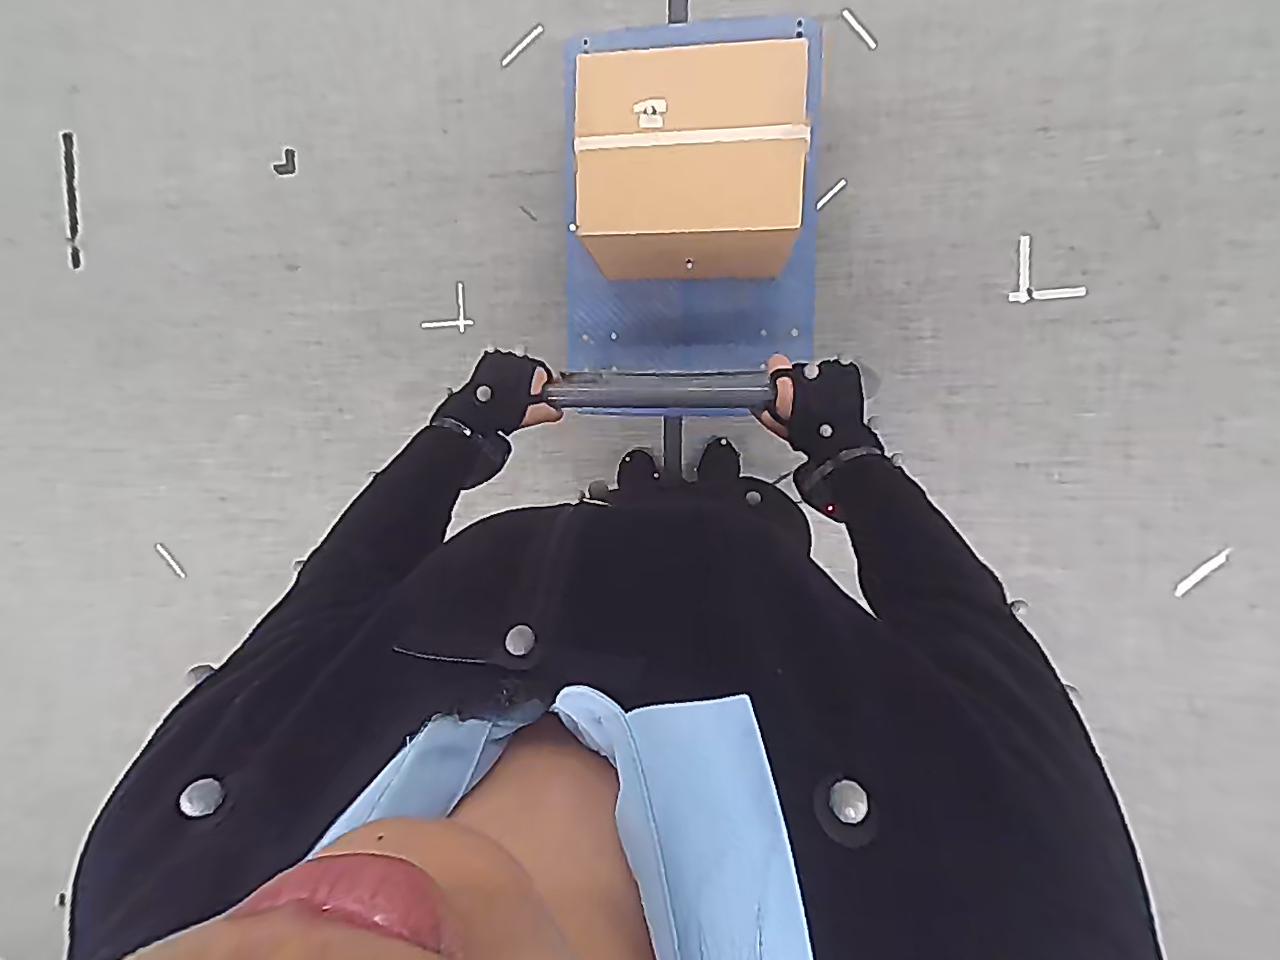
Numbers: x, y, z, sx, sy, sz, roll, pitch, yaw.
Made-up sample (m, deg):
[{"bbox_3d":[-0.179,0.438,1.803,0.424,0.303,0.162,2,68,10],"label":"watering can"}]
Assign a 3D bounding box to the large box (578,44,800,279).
[{"bbox_3d":[0.105,-0.618,1.123,0.408,0.320,0.320,1,95,8],"label":"large box"}]
